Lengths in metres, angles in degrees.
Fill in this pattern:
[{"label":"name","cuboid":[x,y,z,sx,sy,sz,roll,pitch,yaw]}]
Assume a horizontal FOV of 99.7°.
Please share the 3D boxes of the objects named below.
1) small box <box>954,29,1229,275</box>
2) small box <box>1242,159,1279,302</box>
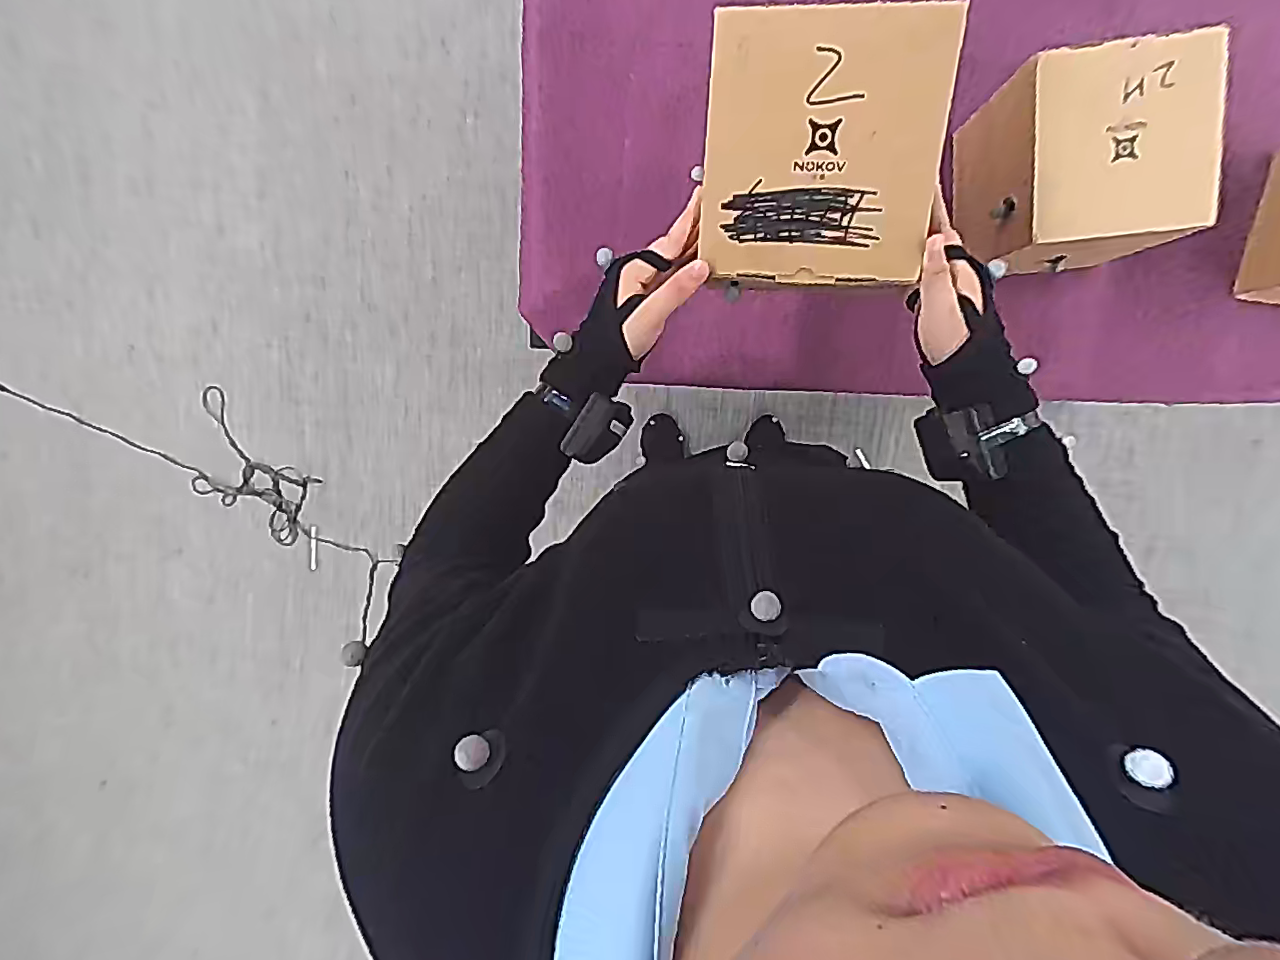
[{"label":"small box","cuboid":[0.466,-0.332,0.589,0.168,0.176,0.179,-4,97,6]},{"label":"small box","cuboid":[0.808,-0.287,0.562,0.168,0.176,0.179,10,98,4]}]
